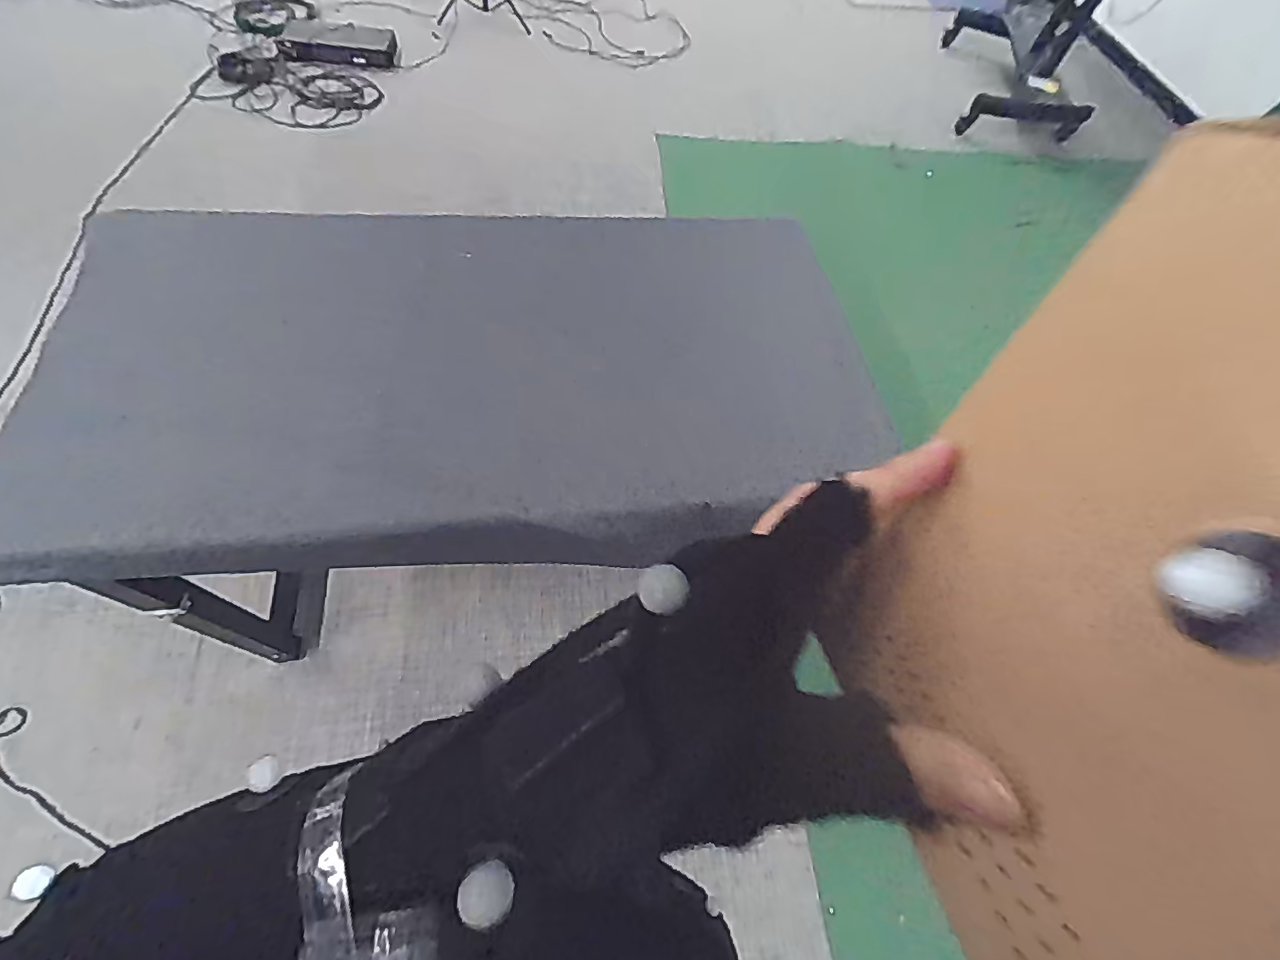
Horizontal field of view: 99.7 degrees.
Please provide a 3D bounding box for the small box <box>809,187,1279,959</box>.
[{"bbox_3d":[0.174,0.064,0.126,0.168,0.176,0.179,16,31,-19],"label":"small box"}]
